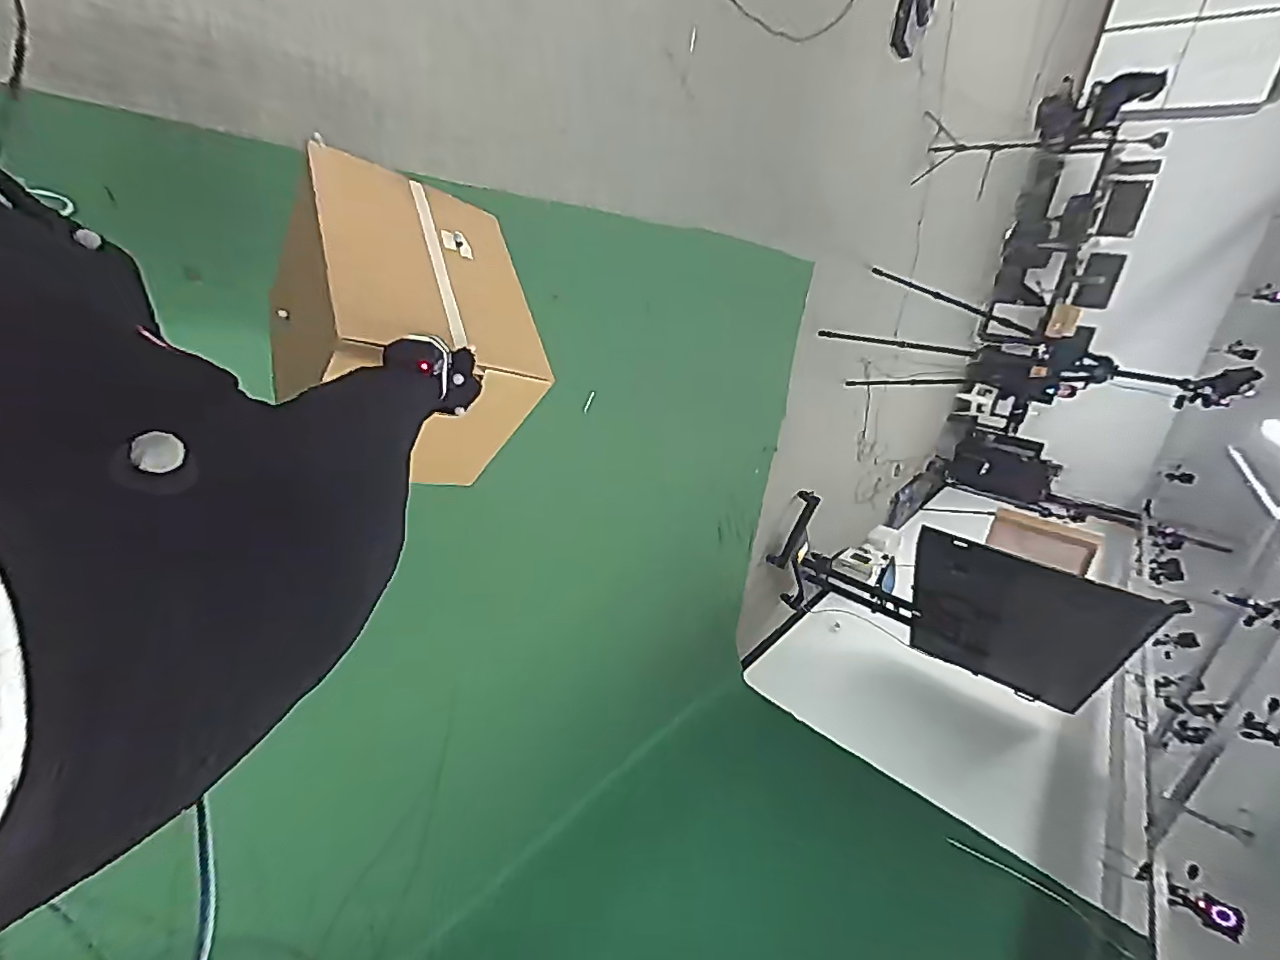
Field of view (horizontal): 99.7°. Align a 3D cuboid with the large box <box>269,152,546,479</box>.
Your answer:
[{"bbox_3d":[-0.418,-0.247,0.930,0.320,0.408,0.320,4,144,-45],"label":"large box"}]
